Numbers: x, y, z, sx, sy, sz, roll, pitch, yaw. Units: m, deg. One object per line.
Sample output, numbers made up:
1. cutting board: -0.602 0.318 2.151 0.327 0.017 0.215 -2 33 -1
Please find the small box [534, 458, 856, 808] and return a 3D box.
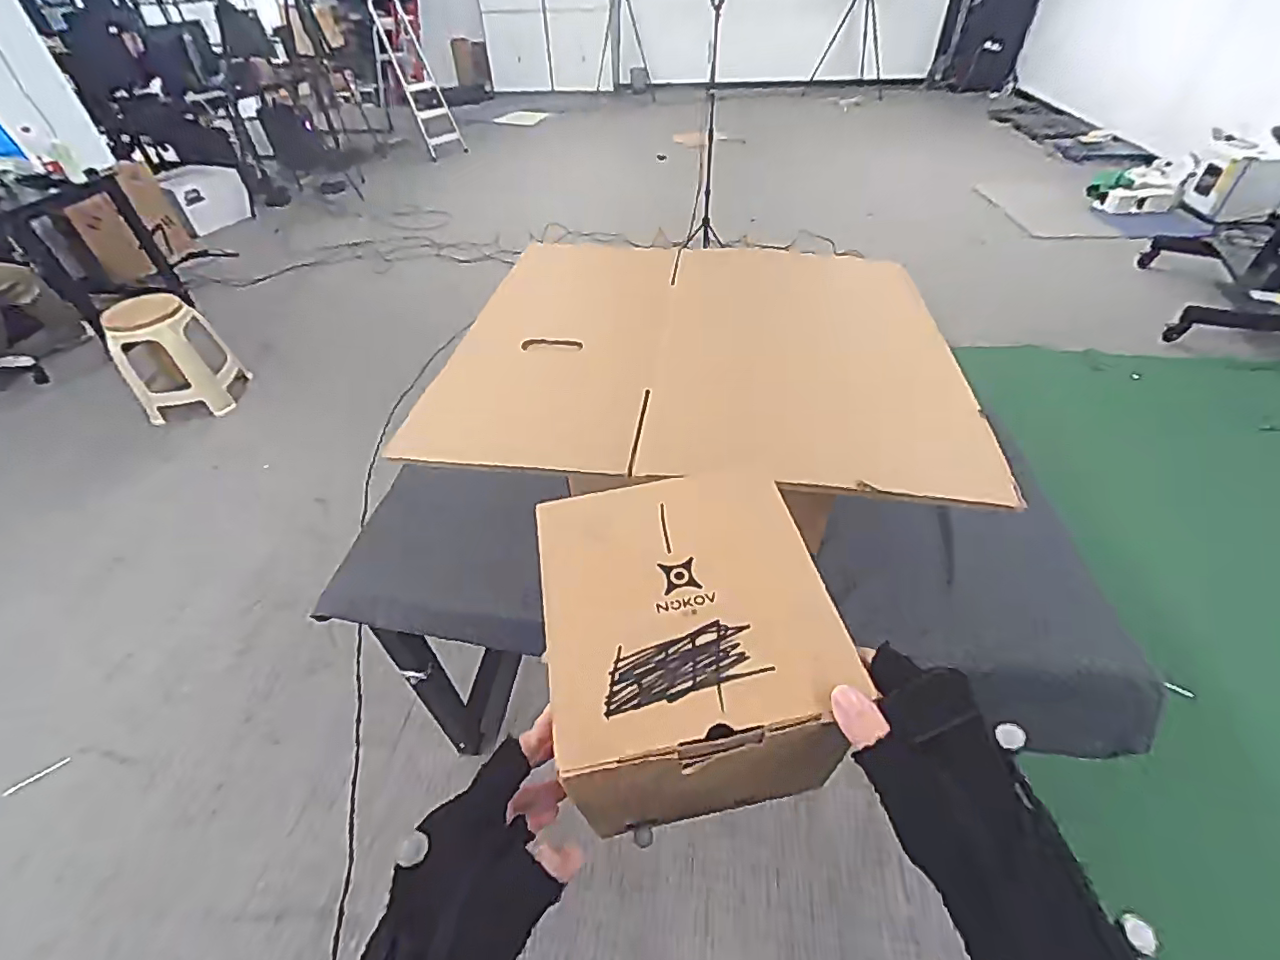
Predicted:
1. small box: 0.027 0.114 0.388 0.168 0.176 0.179 -11 47 -4
